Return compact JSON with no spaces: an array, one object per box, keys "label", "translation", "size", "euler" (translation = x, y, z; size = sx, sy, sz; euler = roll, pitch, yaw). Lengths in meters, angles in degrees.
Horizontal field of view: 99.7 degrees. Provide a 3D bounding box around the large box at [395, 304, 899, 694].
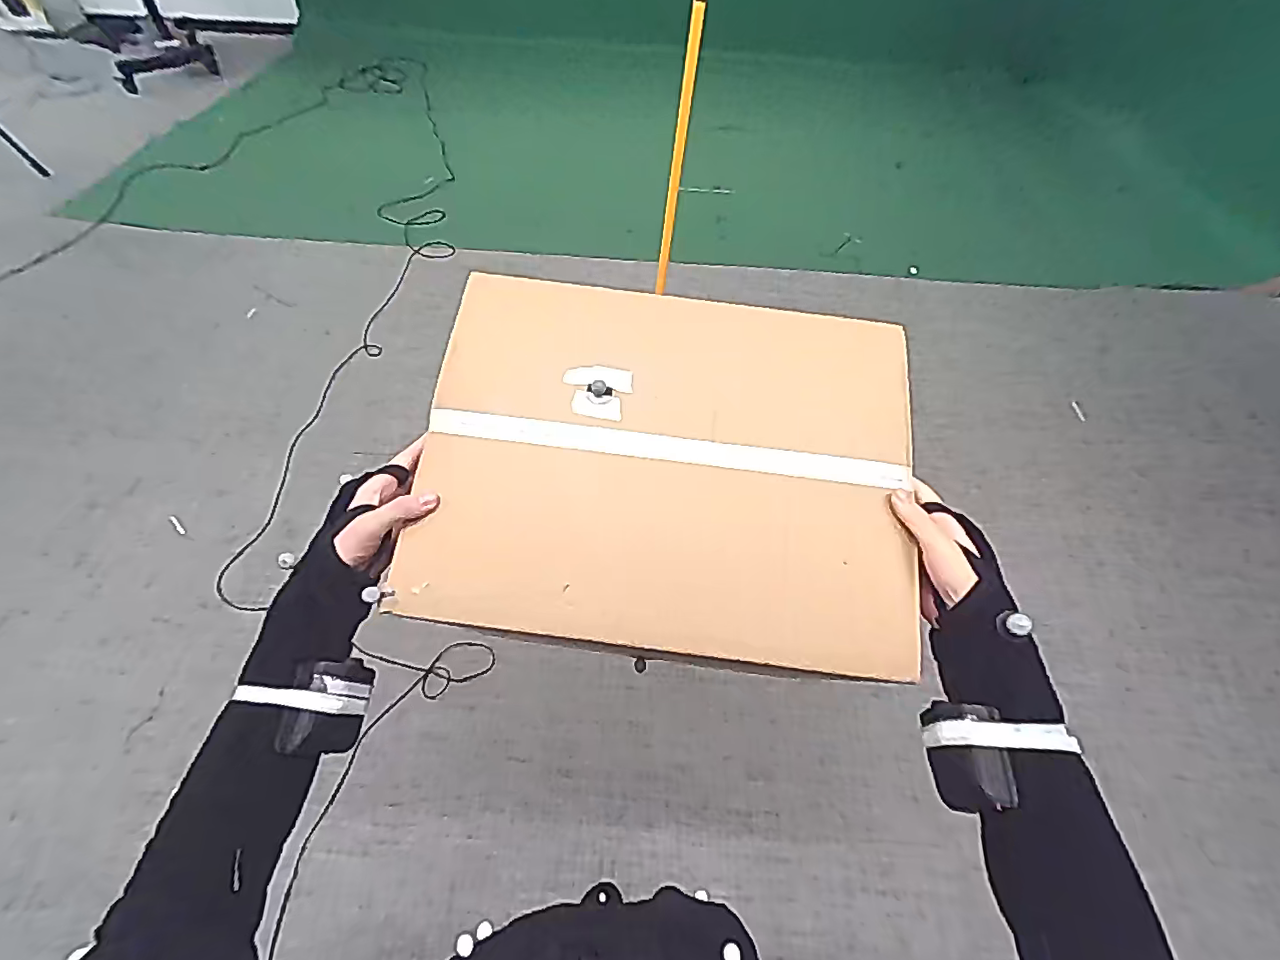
[{"label":"large box","translation":[0.021,0.044,0.607],"size":[0.408,0.320,0.320],"euler":[8,70,2]}]
